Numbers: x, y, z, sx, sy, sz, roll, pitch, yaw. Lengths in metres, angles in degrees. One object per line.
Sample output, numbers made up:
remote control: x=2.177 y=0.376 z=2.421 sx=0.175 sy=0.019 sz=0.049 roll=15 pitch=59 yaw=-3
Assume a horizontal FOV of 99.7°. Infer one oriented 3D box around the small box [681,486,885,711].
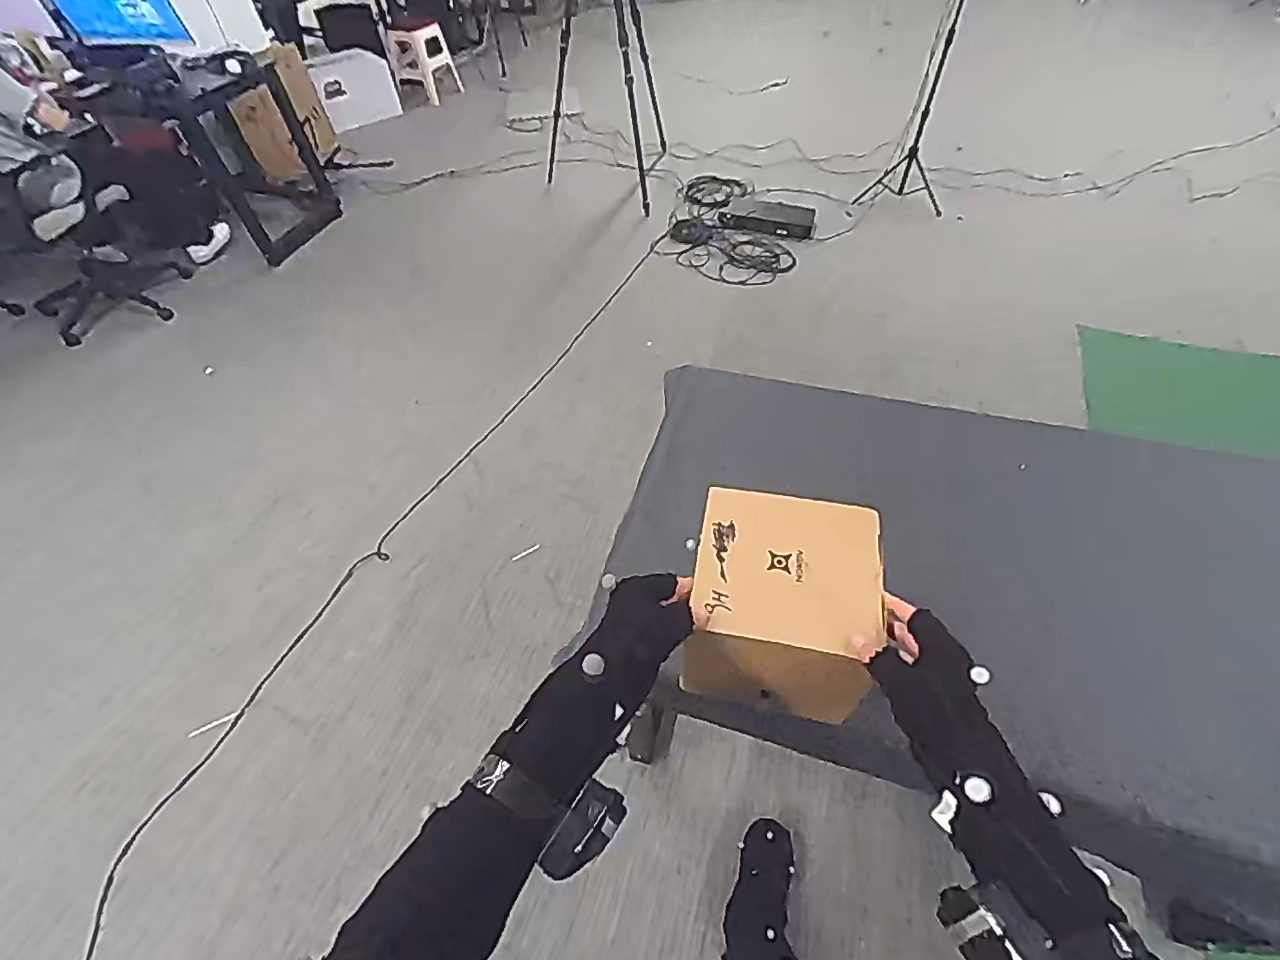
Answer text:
small box: x=0.146 y=0.133 z=0.587 sx=0.179 sy=0.176 sz=0.168 roll=9 pitch=51 yaw=9
